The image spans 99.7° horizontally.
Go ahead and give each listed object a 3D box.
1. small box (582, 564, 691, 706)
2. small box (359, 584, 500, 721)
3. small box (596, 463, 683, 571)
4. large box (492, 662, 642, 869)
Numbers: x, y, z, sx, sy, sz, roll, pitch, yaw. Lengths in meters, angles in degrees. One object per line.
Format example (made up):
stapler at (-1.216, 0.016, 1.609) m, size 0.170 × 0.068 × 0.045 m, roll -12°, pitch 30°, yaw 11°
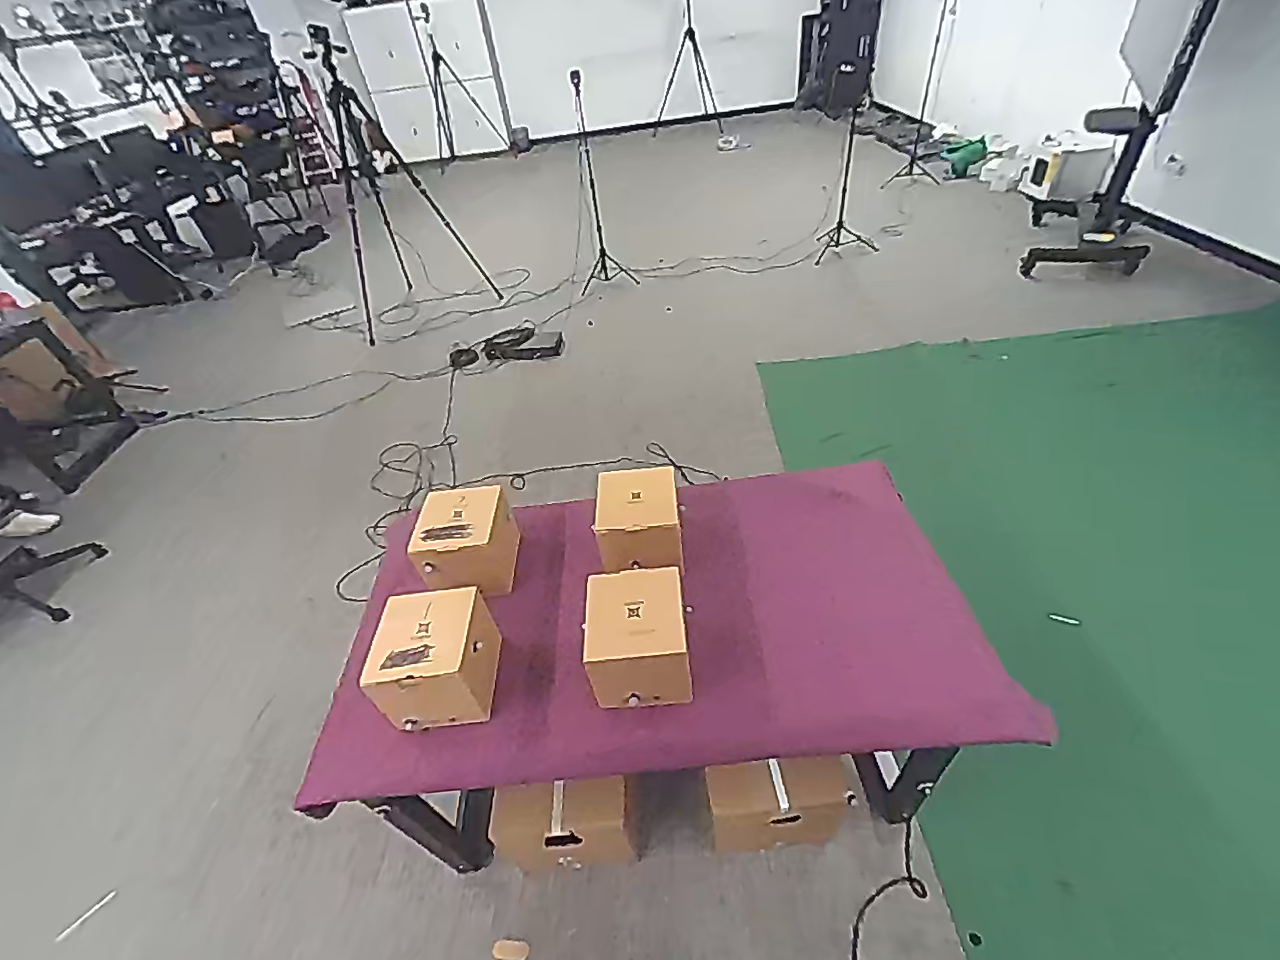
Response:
small box at (-0.001, 0.273, 0.951) m, size 0.168 × 0.176 × 0.179 m, roll -6°, pitch 42°, yaw 5°
small box at (-0.361, 0.313, 0.968) m, size 0.168 × 0.176 × 0.179 m, roll -7°, pitch 41°, yaw 2°
small box at (0.003, 0.087, 1.155) m, size 0.168 × 0.176 × 0.179 m, roll -5°, pitch 44°, yaw 4°
large box at (-0.174, 0.752, 1.445) m, size 0.320 × 0.320 × 0.408 m, roll -6°, pitch 41°, yaw 2°
